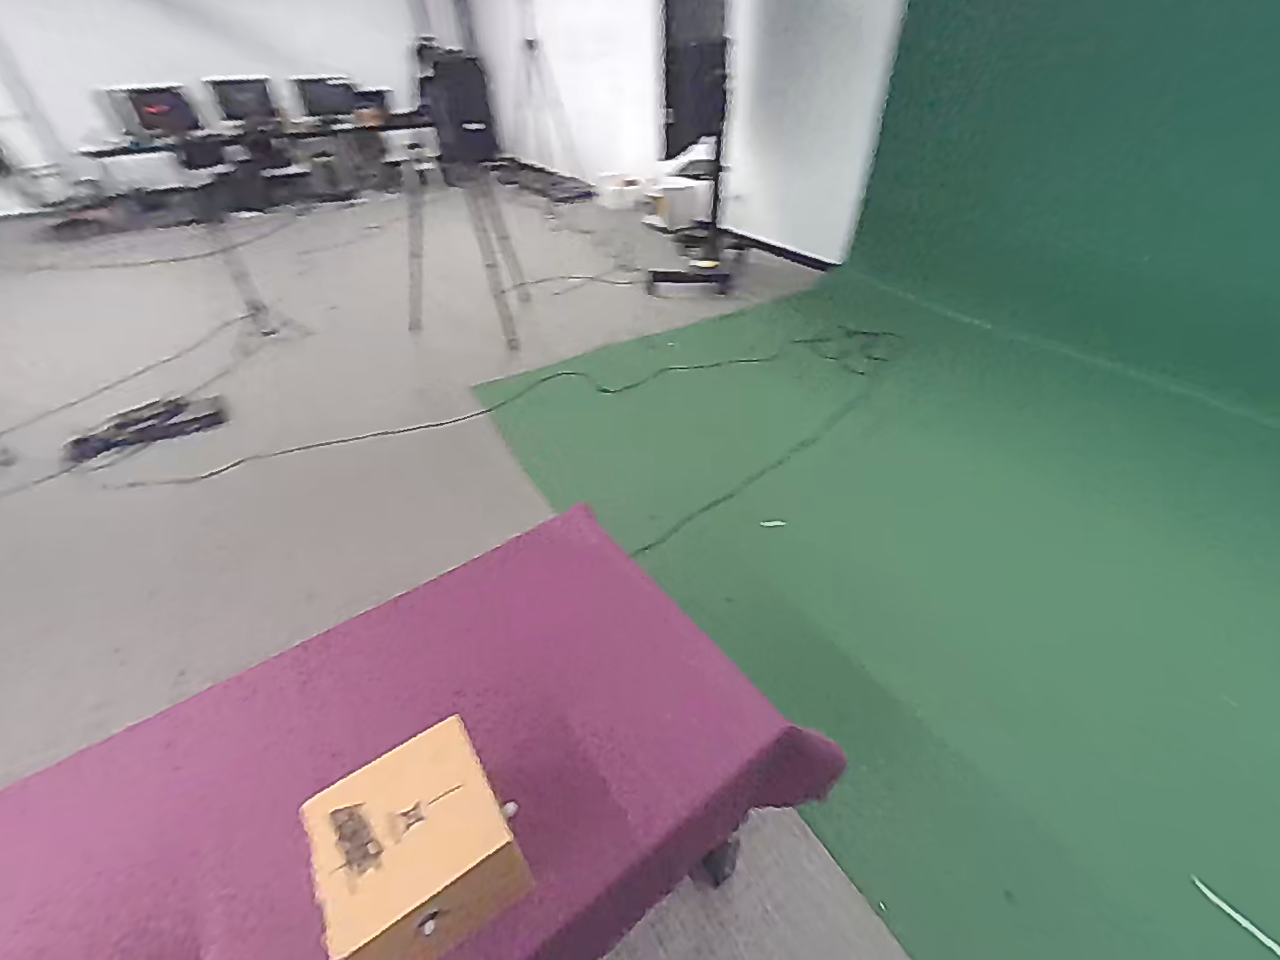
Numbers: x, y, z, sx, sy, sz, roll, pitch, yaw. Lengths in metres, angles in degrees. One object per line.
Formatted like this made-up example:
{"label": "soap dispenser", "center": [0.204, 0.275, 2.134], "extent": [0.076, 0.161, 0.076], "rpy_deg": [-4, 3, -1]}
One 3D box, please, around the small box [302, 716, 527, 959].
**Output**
{"label": "small box", "center": [-0.250, 0.423, 0.623], "extent": [0.179, 0.176, 0.168], "rpy_deg": [-24, 45, -26]}
